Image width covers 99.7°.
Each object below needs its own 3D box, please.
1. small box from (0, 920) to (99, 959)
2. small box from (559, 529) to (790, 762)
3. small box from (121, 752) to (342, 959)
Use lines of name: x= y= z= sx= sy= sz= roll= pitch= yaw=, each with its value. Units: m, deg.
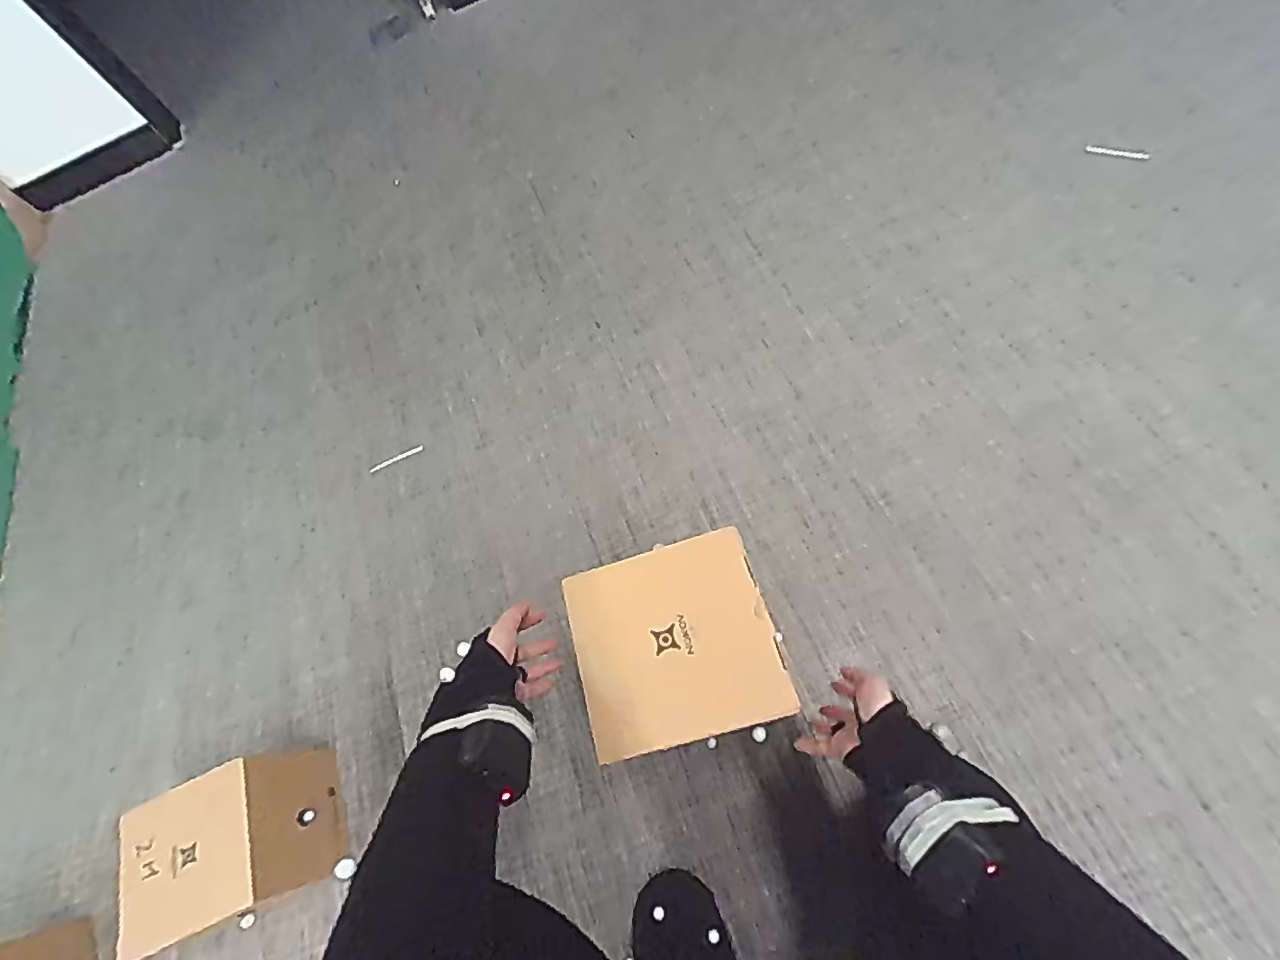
small box: x=-0.842 y=0.724 z=0.690 sx=0.168 sy=0.176 sz=0.179 roll=-41 pitch=65 yaw=-6
small box: x=0.039 y=0.172 z=0.548 sx=0.179 sy=0.176 sz=0.168 roll=-18 pitch=65 yaw=4
small box: x=-0.528 y=0.482 z=0.721 sx=0.179 sy=0.176 sz=0.168 roll=-26 pitch=63 yaw=0
